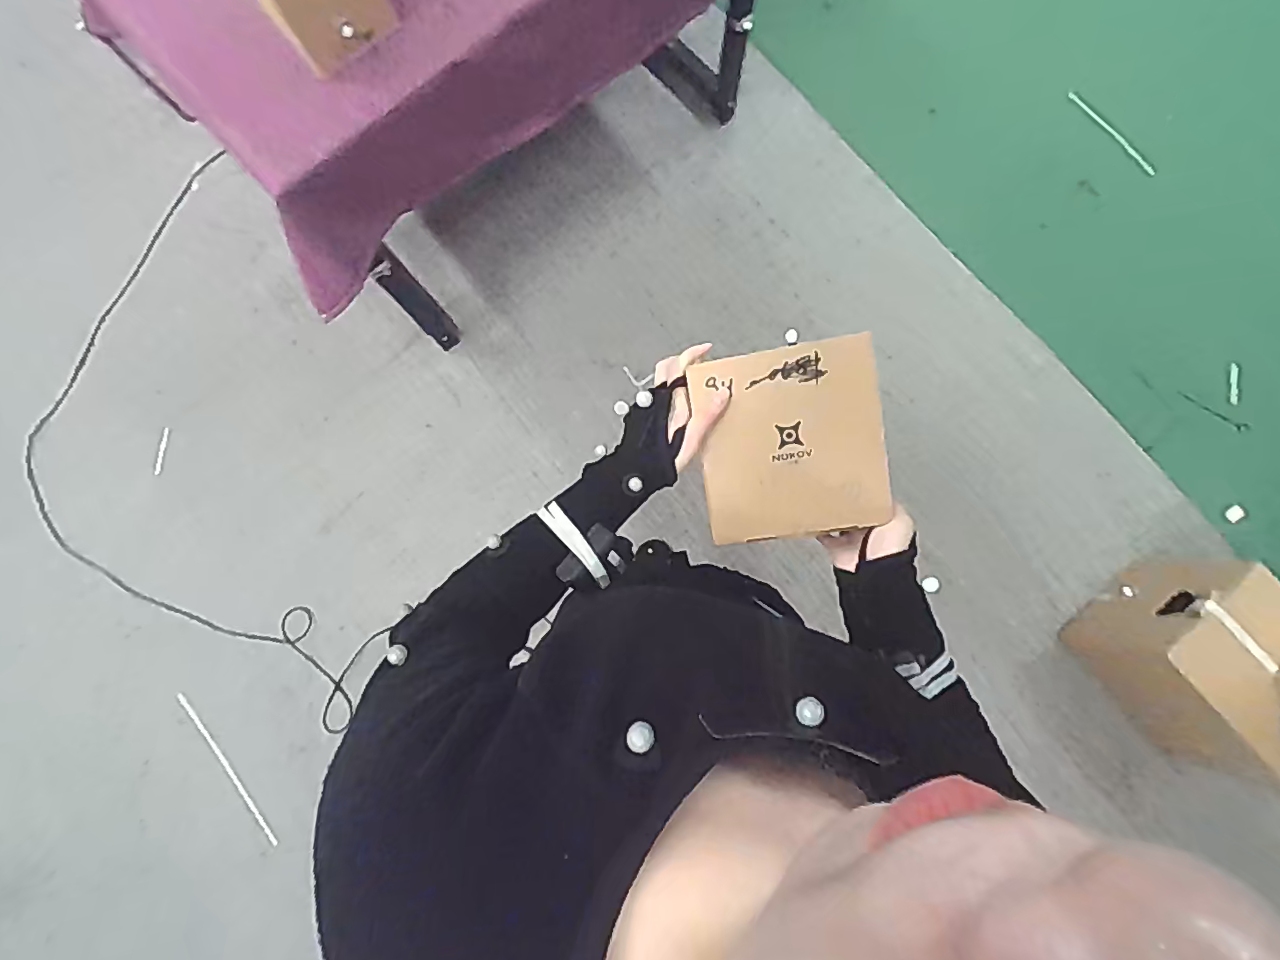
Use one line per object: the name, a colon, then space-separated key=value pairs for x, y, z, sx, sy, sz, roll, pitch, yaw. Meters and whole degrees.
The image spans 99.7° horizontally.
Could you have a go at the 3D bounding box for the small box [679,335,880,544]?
small box: x=0.140 y=-0.049 z=0.578 sx=0.168 sy=0.176 sz=0.179 roll=-10 pitch=99 yaw=8
